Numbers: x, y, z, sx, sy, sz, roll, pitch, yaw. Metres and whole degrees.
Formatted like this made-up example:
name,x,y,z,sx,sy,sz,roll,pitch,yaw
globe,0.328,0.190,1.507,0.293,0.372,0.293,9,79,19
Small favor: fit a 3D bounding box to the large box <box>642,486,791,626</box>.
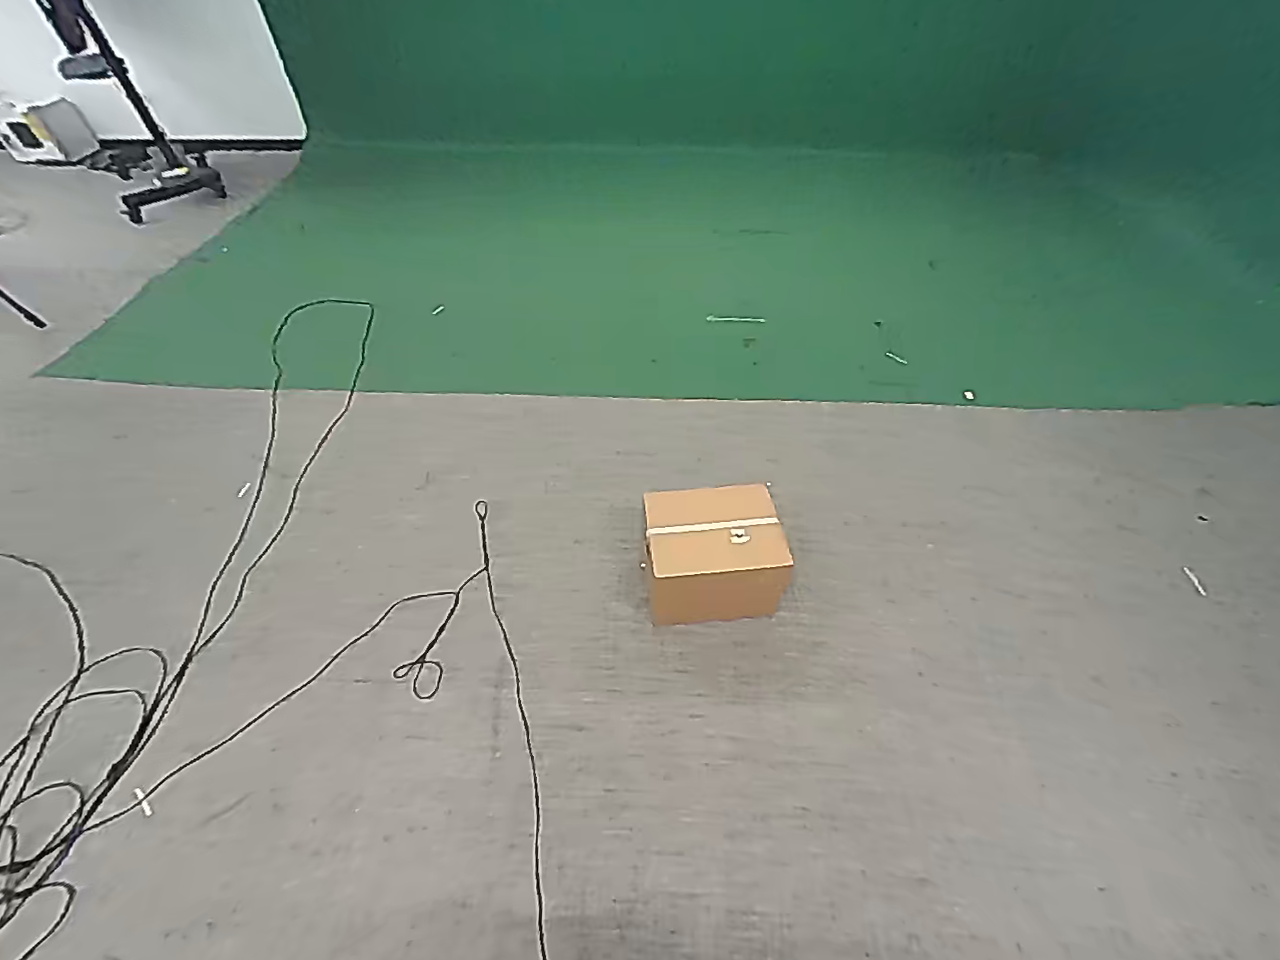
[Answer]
name,x,y,z,sx,sy,sz,roll,pitch,yaw
large box,0.223,0.248,1.748,0.408,0.320,0.320,-4,49,-4
